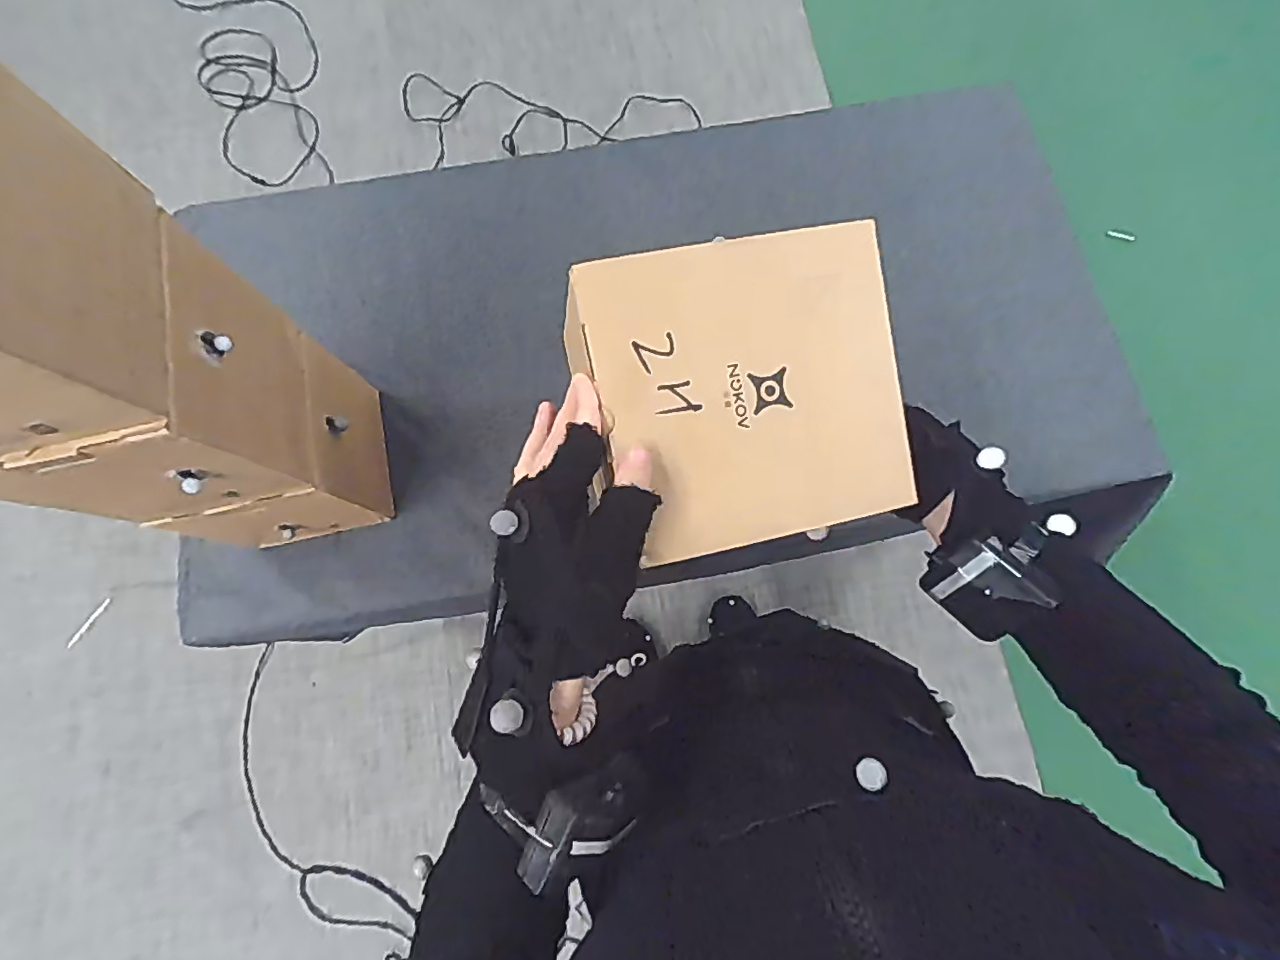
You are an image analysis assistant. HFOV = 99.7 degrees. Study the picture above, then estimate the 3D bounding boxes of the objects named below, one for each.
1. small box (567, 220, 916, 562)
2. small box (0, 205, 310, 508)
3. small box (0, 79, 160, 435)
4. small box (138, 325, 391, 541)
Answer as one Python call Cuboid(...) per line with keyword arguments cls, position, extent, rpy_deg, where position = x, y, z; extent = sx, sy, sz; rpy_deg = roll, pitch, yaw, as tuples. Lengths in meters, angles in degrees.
Cuboid(cls="small box", position=(0.051, -0.055, 0.374), extent=(0.179, 0.176, 0.168), rpy_deg=(-12, 94, -8))
Cuboid(cls="small box", position=(-0.399, -0.080, 0.441), extent=(0.168, 0.176, 0.179), rpy_deg=(-12, 77, -3))
Cuboid(cls="small box", position=(-0.401, -0.124, 0.282), extent=(0.168, 0.176, 0.179), rpy_deg=(-13, 77, -4))
Cuboid(cls="small box", position=(-0.399, -0.041, 0.599), extent=(0.168, 0.176, 0.179), rpy_deg=(-12, 77, -3))
